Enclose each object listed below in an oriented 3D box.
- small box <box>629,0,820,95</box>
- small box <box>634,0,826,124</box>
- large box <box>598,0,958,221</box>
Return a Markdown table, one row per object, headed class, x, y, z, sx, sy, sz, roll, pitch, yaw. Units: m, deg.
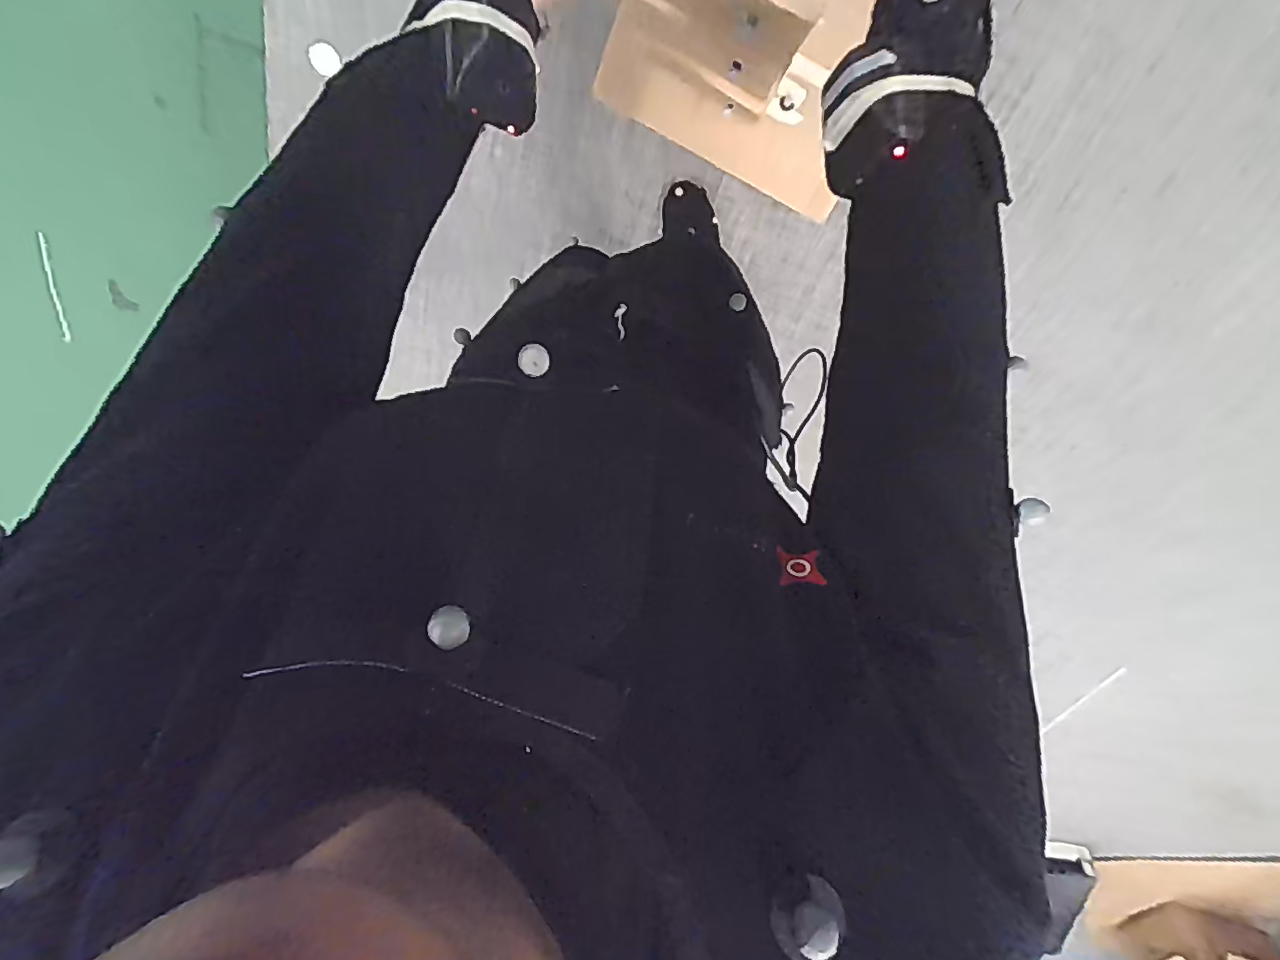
| class | x | y | z | sx | sy | sz | roll | pitch | yaw |
| --- | --- | --- | --- | --- | --- | --- | --- | --- | --- |
| small box | 0.094 | -0.501 | 0.514 | 0.179 | 0.176 | 0.168 | 26 | 119 | -7 |
| small box | 0.116 | -0.566 | 0.662 | 0.179 | 0.176 | 0.168 | 27 | 119 | -5 |
| large box | 0.193 | -0.672 | 0.869 | 0.408 | 0.320 | 0.320 | 25 | 122 | -6 |
